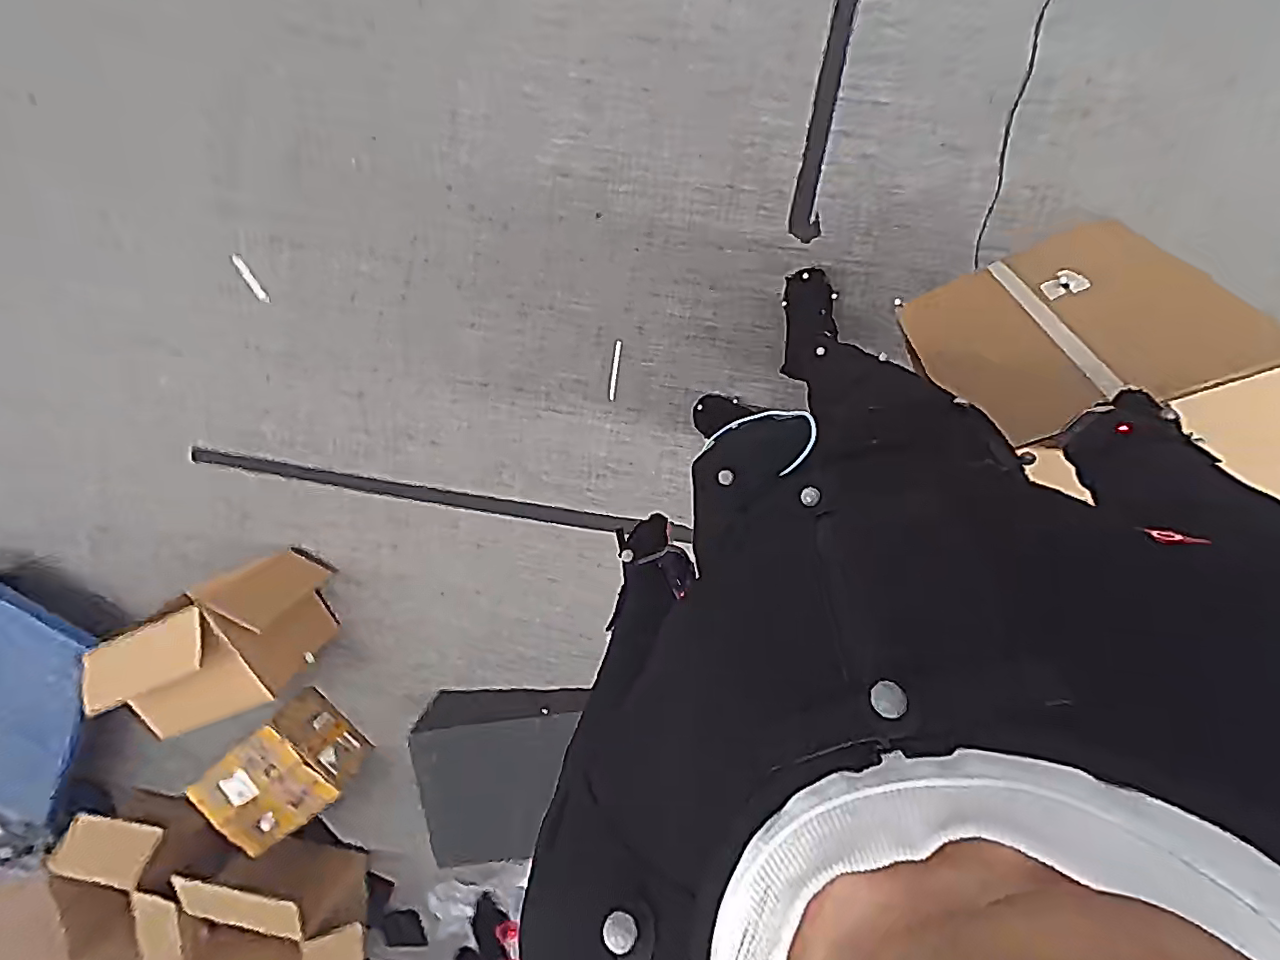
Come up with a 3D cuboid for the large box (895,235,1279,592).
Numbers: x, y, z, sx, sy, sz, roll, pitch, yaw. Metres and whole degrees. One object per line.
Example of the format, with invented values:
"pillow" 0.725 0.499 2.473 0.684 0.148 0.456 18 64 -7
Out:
"large box" 0.643 -0.102 0.837 0.320 0.408 0.320 -20 127 23
